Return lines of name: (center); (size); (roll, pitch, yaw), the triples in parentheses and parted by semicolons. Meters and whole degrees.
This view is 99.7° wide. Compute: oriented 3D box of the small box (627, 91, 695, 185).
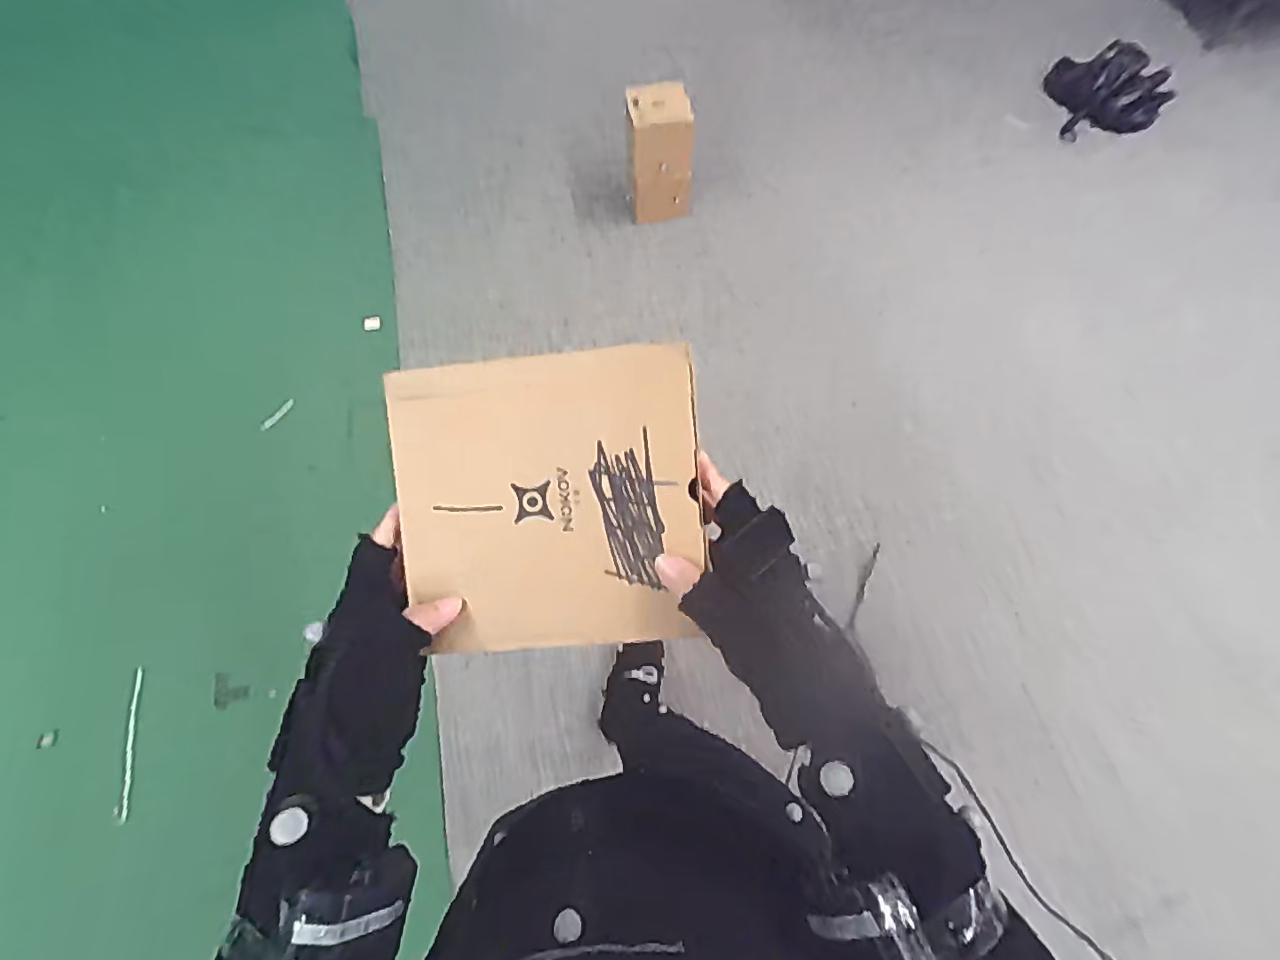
small box: (0.057, -1.020, 1.621); (0.179, 0.176, 0.168); (-9, 68, -4)

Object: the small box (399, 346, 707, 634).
small box: (-0.047, 0.005, 0.390); (0.179, 0.176, 0.168); (-2, 91, 4)
